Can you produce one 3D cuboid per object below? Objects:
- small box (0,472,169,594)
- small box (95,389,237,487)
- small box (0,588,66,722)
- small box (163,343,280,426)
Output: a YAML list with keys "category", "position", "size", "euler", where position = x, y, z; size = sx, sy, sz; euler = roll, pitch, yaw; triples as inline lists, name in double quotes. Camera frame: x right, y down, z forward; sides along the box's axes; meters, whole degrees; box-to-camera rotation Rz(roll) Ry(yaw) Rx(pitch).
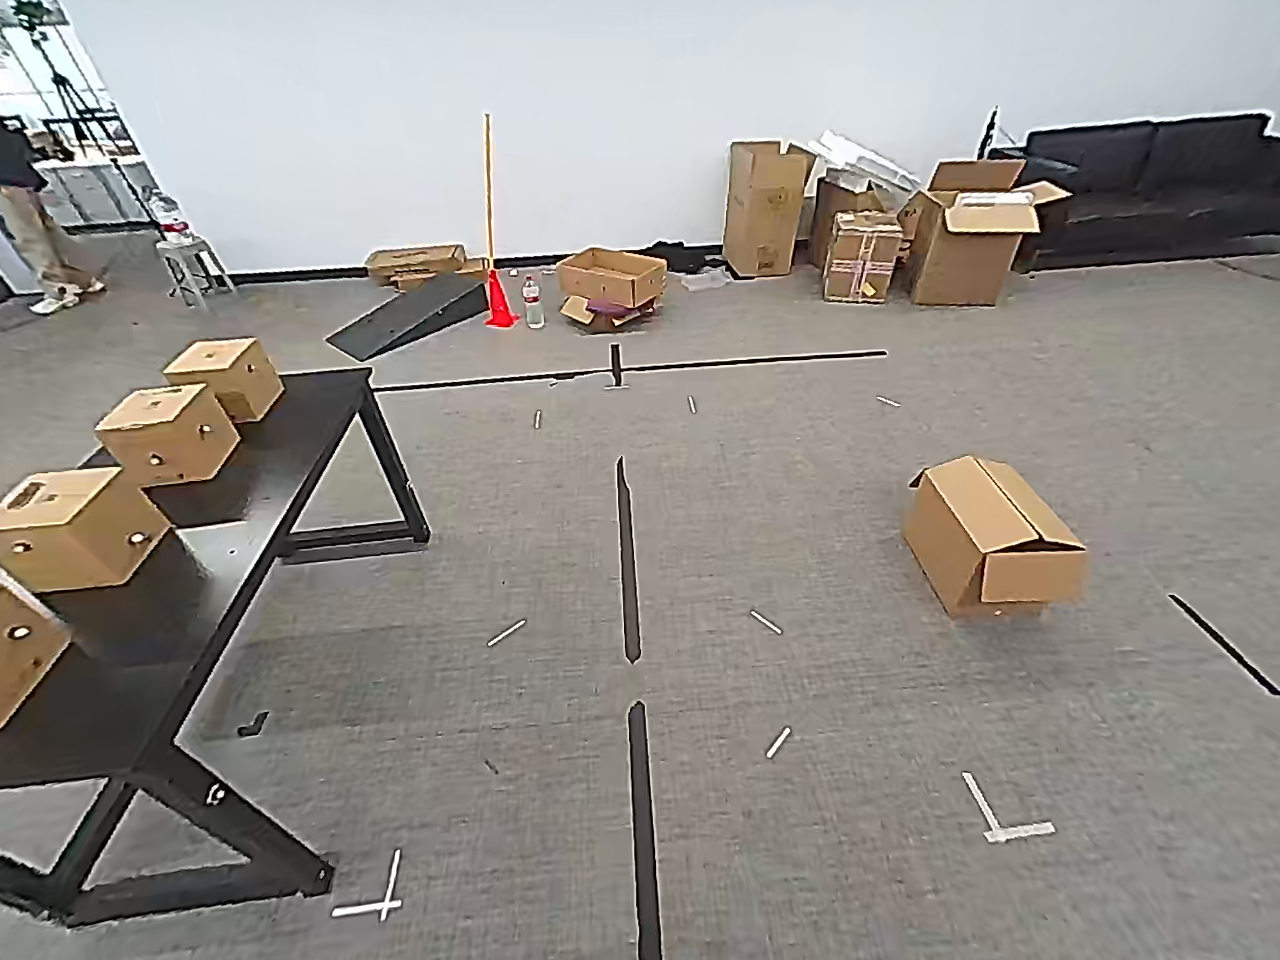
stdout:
- category: "small box"
  position: [-1.100, 0.106, 1.059]
  size: [0.179, 0.176, 0.168]
  euler: [-5, 40, -4]
- category: "small box"
  position: [-1.124, -0.096, 1.304]
  size: [0.168, 0.176, 0.179]
  euler: [-8, 41, -6]
- category: "small box"
  position: [-1.081, 0.290, 0.839]
  size: [0.179, 0.176, 0.168]
  euler: [-7, 39, -4]
- category: "small box"
  position: [-1.141, -0.258, 1.496]
  size: [0.168, 0.176, 0.179]
  euler: [-5, 40, -3]
